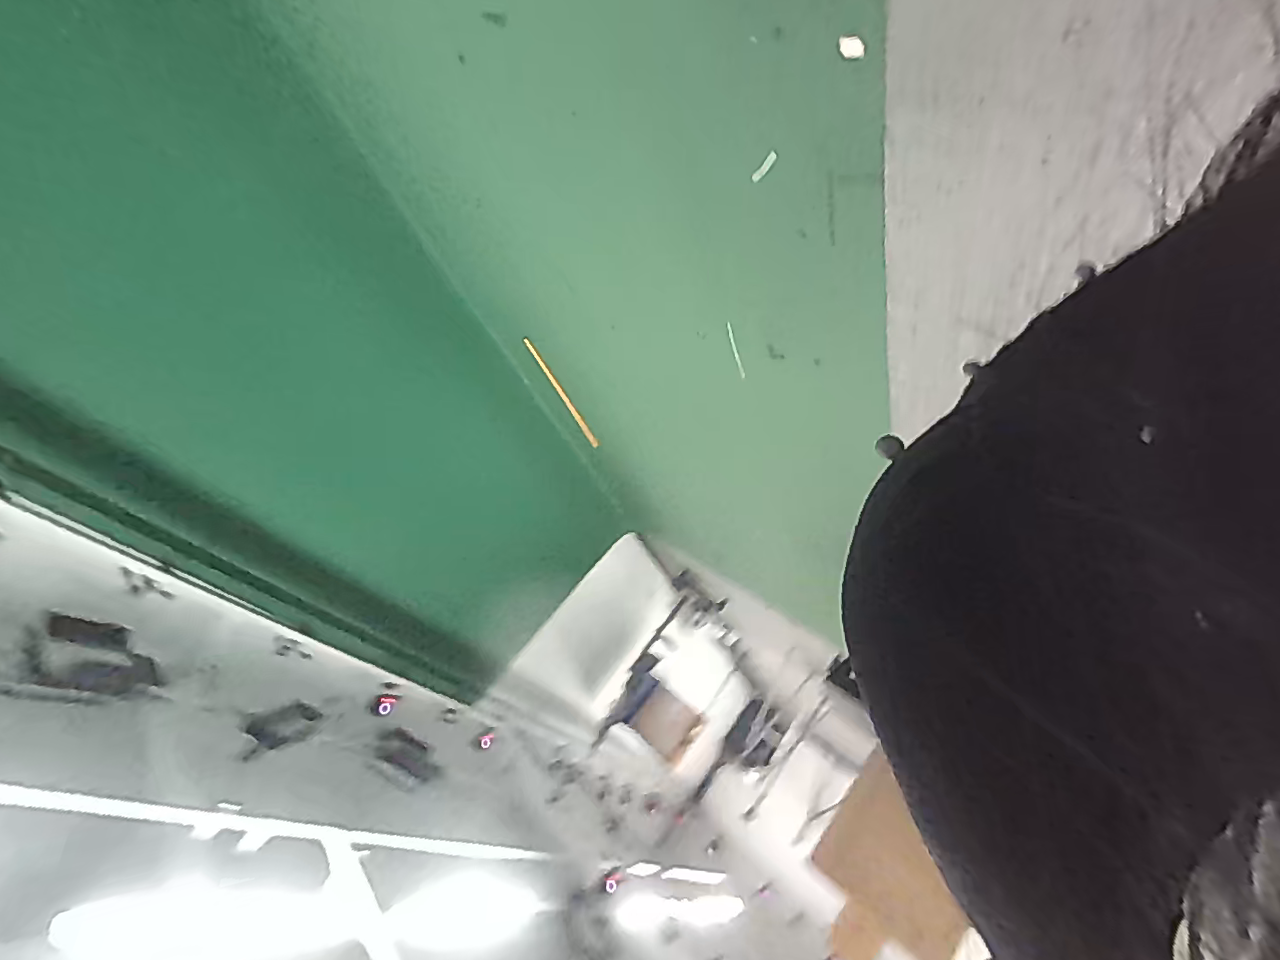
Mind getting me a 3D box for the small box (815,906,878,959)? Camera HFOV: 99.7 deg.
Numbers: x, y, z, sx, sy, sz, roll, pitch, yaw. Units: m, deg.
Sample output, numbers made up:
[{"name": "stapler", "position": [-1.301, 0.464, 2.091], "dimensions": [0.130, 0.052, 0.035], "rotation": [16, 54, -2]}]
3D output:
[{"name": "small box", "position": [0.788, 1.775, 2.065], "dimensions": [0.168, 0.176, 0.179], "rotation": [31, 158, 32]}]
